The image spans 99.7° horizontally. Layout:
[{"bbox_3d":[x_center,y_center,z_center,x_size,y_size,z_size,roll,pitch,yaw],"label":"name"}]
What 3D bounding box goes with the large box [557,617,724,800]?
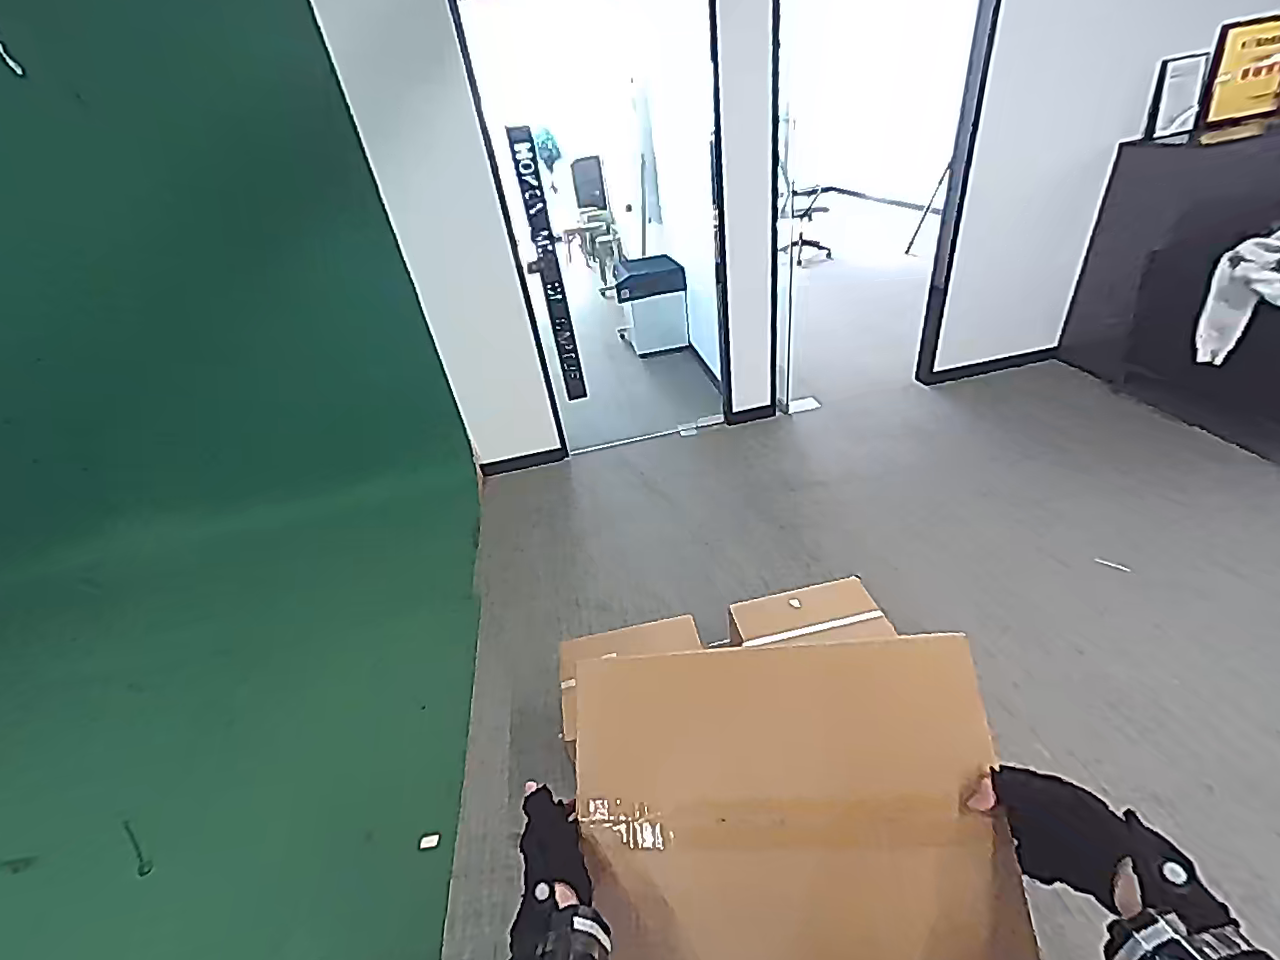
[{"bbox_3d":[0.000,0.649,1.547,0.408,0.320,0.320,-12,34,-2],"label":"large box"}]
